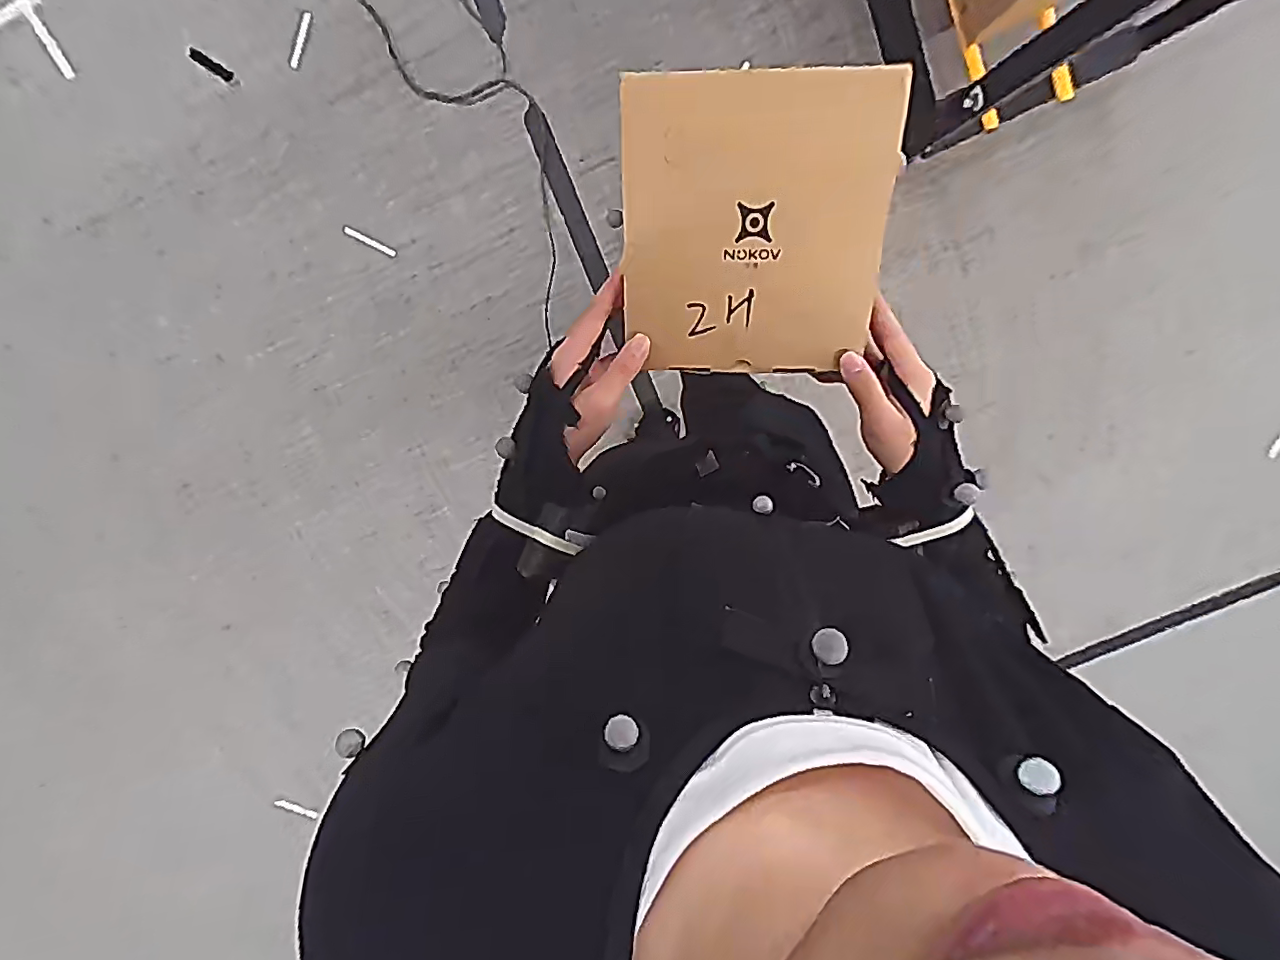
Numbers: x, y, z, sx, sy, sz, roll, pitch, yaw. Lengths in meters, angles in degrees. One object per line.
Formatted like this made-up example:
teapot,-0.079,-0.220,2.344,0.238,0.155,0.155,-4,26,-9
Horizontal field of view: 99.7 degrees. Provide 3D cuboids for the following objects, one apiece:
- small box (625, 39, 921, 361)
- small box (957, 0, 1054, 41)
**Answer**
small box,0.077,-0.195,0.403,0.168,0.176,0.179,1,117,4
small box,0.692,-0.941,0.957,0.179,0.176,0.168,-24,103,5
